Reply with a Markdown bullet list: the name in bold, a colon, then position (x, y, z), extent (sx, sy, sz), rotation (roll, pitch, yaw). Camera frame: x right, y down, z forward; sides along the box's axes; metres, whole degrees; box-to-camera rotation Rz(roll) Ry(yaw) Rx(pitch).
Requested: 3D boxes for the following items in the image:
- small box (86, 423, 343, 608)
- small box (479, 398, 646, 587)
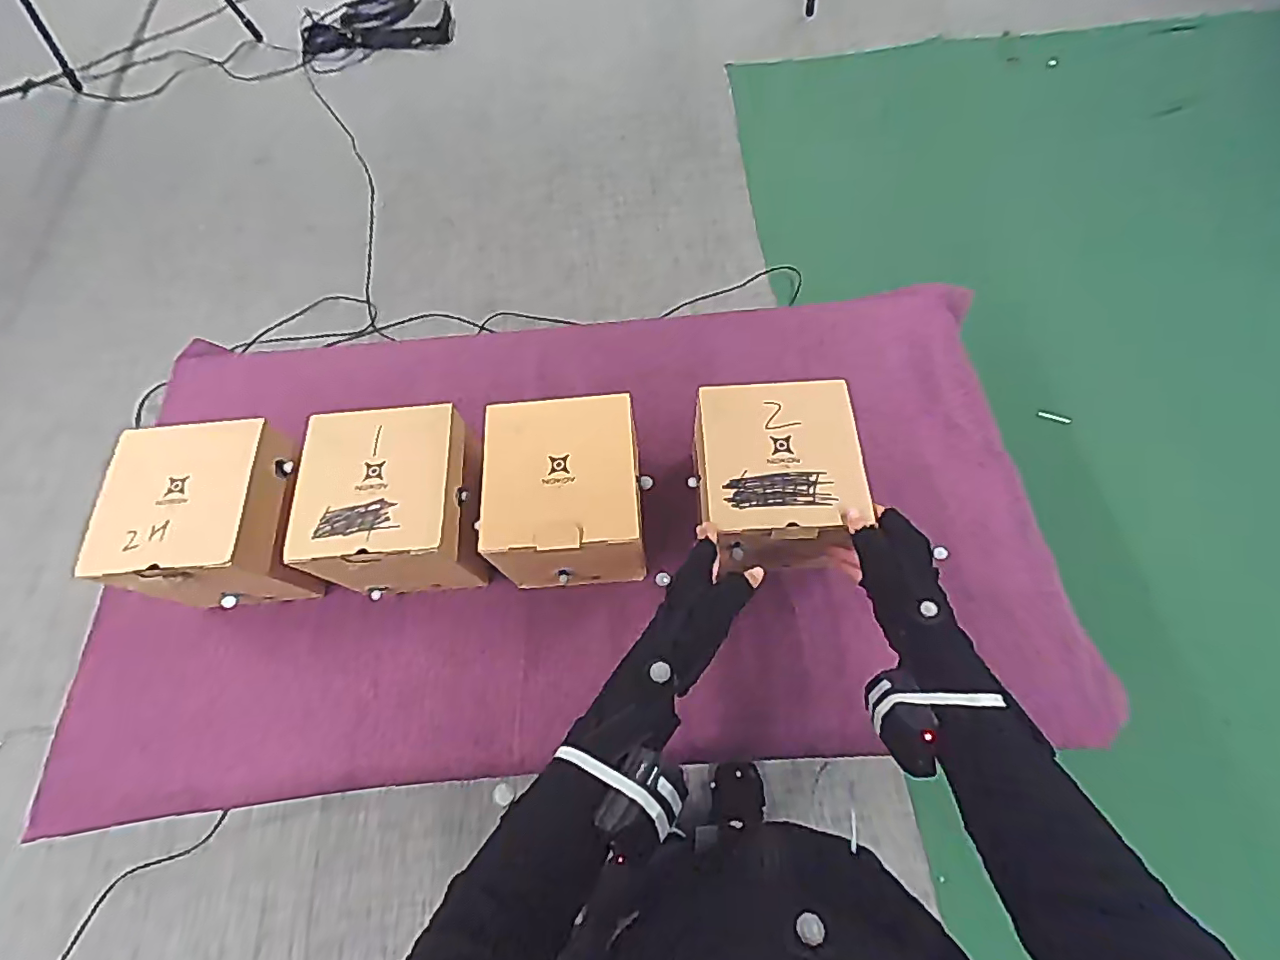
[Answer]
- **small box**: position (-0.497, 0.051, 0.667), extent (0.168, 0.176, 0.179), rotation (-5, 67, 2)
- **small box**: position (-0.083, 0.022, 0.658), extent (0.168, 0.176, 0.179), rotation (-5, 67, 3)
